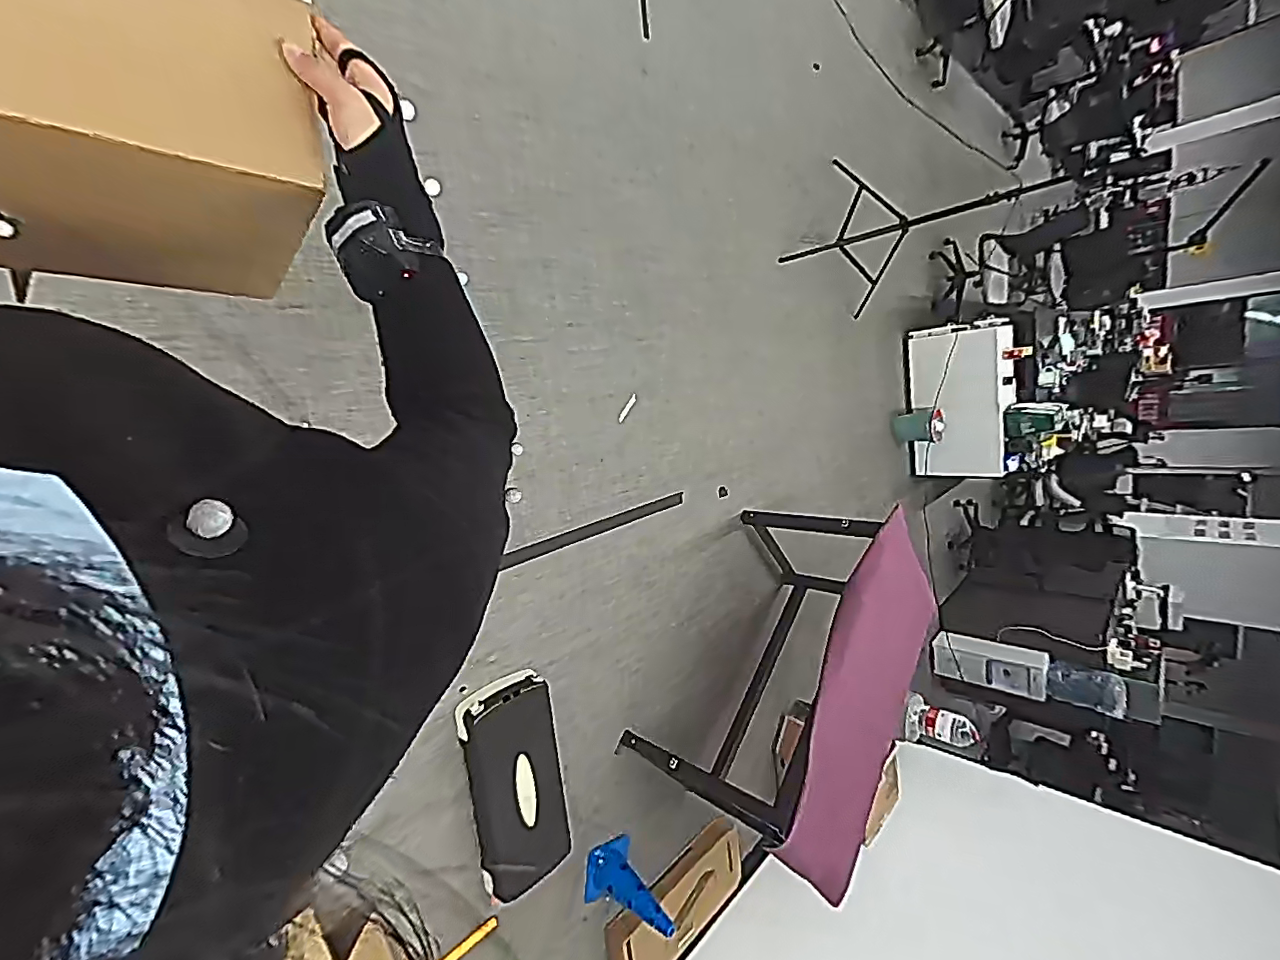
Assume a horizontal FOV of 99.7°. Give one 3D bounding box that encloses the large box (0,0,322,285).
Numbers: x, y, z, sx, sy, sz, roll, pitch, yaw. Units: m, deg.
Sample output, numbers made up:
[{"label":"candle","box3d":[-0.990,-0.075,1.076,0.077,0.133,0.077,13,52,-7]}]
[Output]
[{"label":"large box","box3d":[-0.525,-0.372,0.428,0.408,0.320,0.320,-7,92,-41]}]
